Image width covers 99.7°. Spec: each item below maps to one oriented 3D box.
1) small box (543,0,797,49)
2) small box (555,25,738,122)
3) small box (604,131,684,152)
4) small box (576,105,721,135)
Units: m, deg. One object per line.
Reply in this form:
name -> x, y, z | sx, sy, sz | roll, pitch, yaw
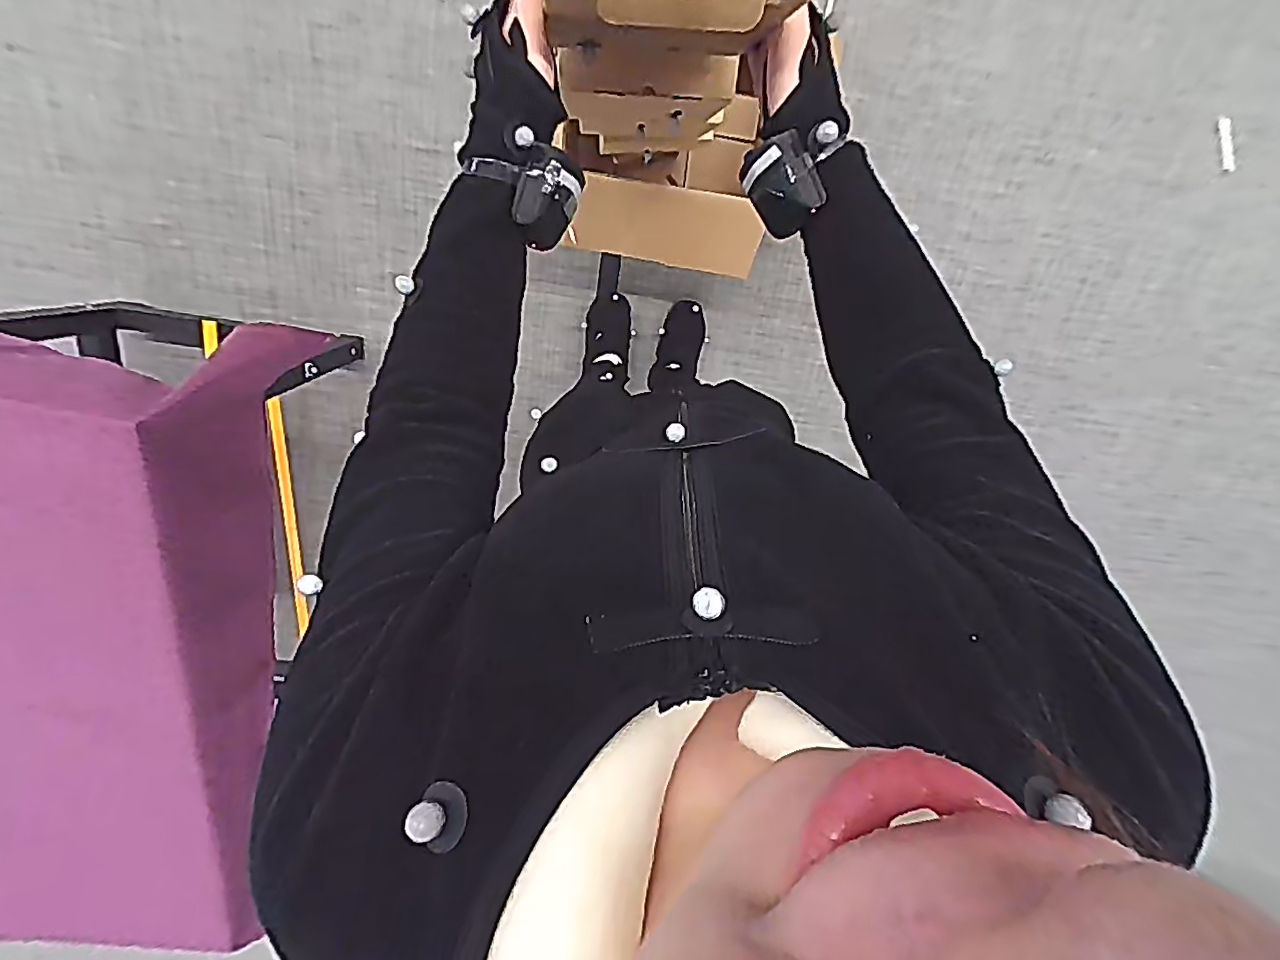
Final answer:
small box -> 0.015, -0.404, 0.348 | 0.168, 0.176, 0.179 | -2, 118, -7
small box -> 0.004, -0.467, 0.531 | 0.168, 0.176, 0.179 | 0, 116, -6
small box -> 0.012, -0.703, 0.965 | 0.179, 0.176, 0.168 | -13, 117, 0
small box -> 0.008, -0.540, 0.678 | 0.179, 0.176, 0.168 | 0, 117, -6
